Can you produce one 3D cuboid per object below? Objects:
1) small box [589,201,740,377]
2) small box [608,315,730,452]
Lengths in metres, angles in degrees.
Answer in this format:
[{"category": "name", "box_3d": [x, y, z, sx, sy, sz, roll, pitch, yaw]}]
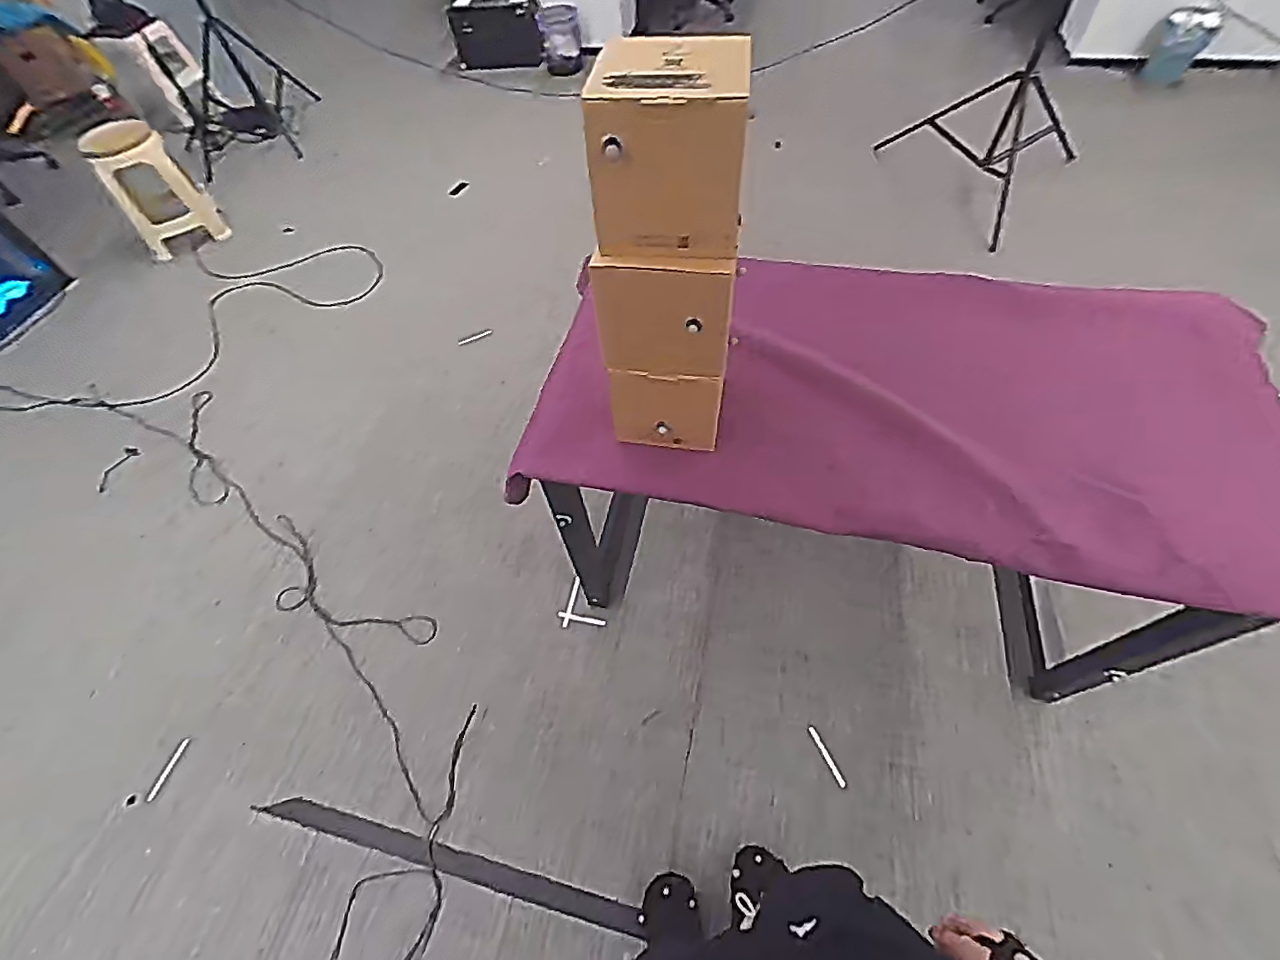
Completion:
[{"category": "small box", "box_3d": [0.040, -0.262, 0.755, 0.179, 0.176, 0.168, 6, 55, 9]}, {"category": "small box", "box_3d": [0.051, -0.171, 0.889, 0.168, 0.176, 0.179, 7, 57, 9]}]
